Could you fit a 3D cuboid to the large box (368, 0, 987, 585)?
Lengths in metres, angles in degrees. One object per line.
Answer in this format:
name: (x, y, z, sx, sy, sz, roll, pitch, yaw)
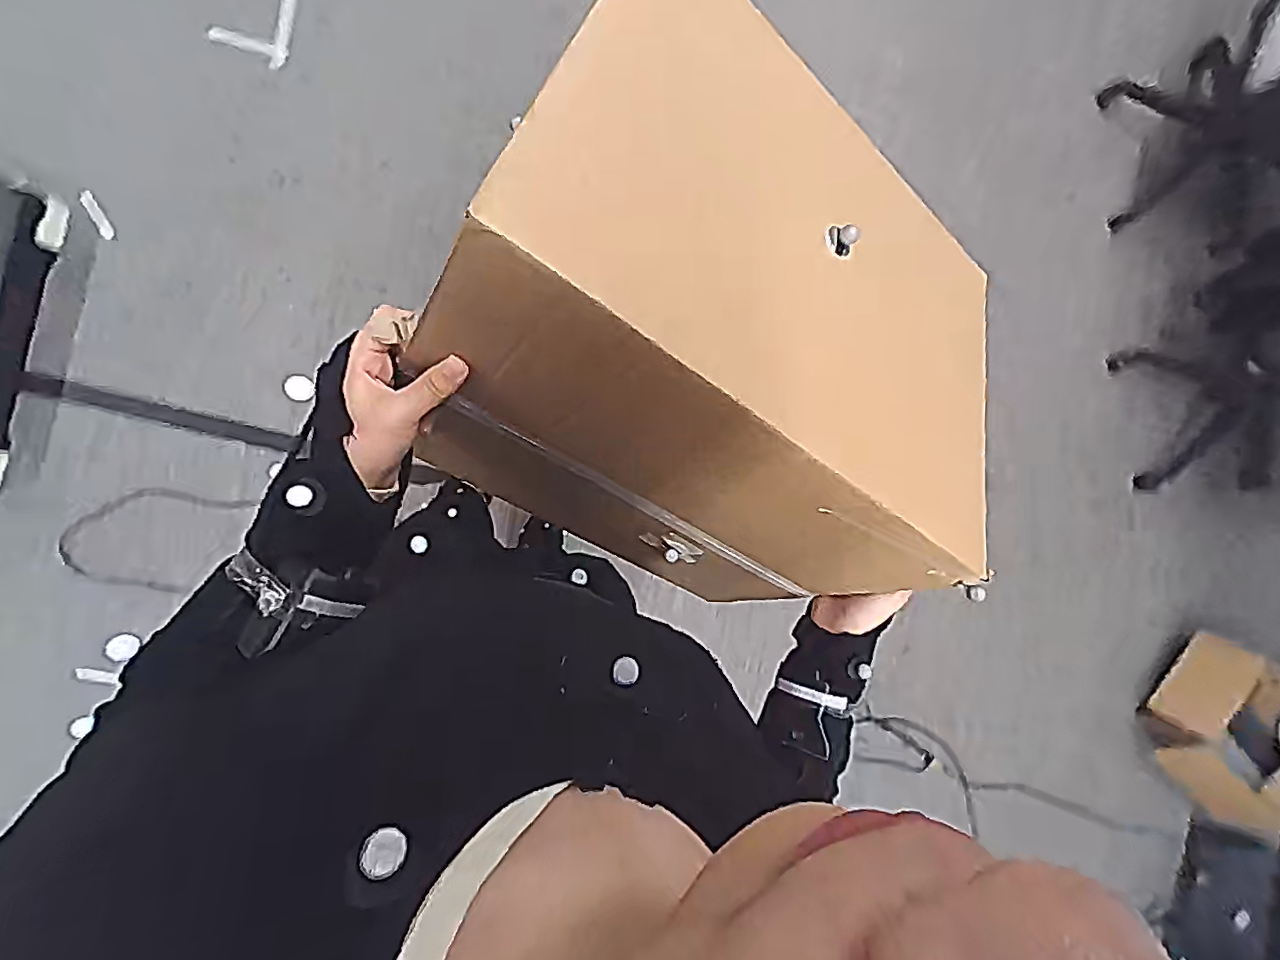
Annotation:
large box: (0.038, -0.129, 0.481, 0.408, 0.320, 0.320, 27, 65, -24)
